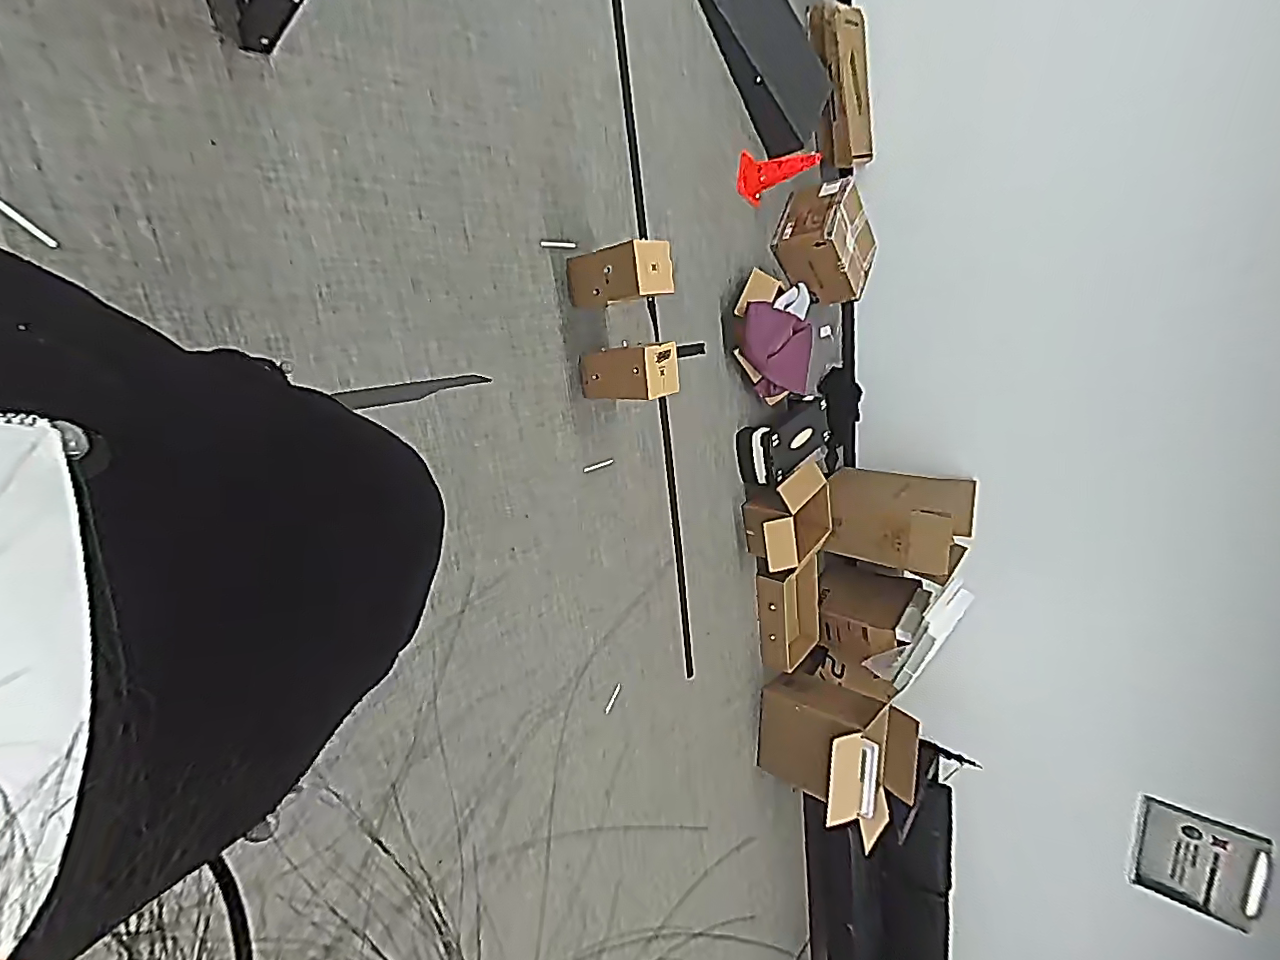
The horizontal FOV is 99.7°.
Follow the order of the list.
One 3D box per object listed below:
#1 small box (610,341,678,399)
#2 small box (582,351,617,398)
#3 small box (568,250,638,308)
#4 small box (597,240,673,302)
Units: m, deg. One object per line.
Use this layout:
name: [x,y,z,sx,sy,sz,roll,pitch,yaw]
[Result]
small box: [0.011,-0.380,1.870,0.168,0.176,0.179,-23,113,-43]
small box: [-0.099,-0.393,1.995,0.179,0.176,0.168,-20,111,-43]
small box: [-0.131,-0.707,1.907,0.168,0.176,0.179,-25,113,-43]
small box: [-0.015,-0.691,1.794,0.179,0.176,0.168,-23,111,-42]
